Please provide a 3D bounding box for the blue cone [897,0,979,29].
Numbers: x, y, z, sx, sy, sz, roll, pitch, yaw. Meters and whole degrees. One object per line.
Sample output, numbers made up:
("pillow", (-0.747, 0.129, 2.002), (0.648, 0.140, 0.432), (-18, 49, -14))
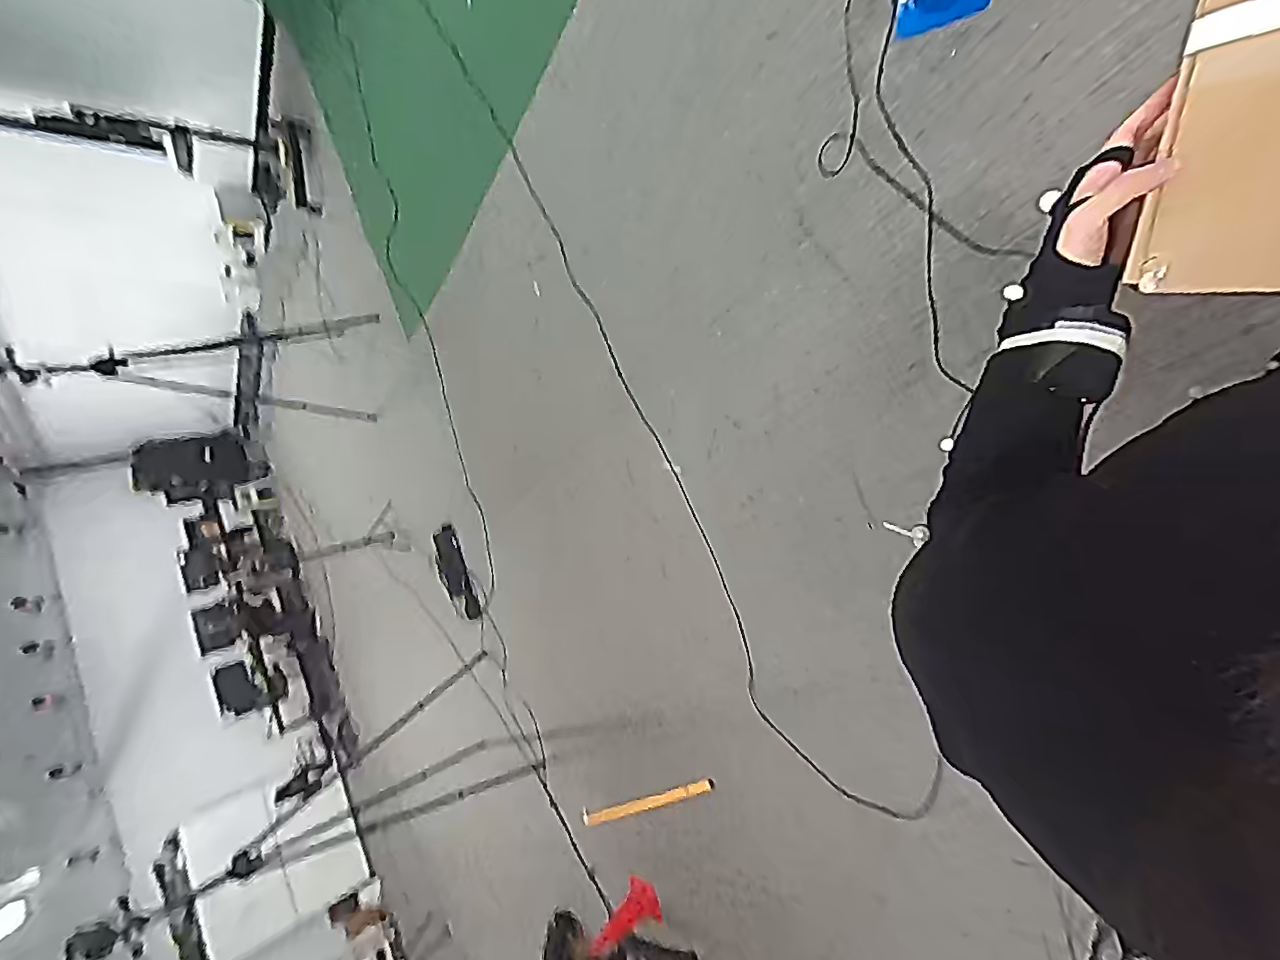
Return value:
("blue cone", (0.558, -1.102, 1.080), (0.192, 0.380, 0.193), (11, 108, 43))
